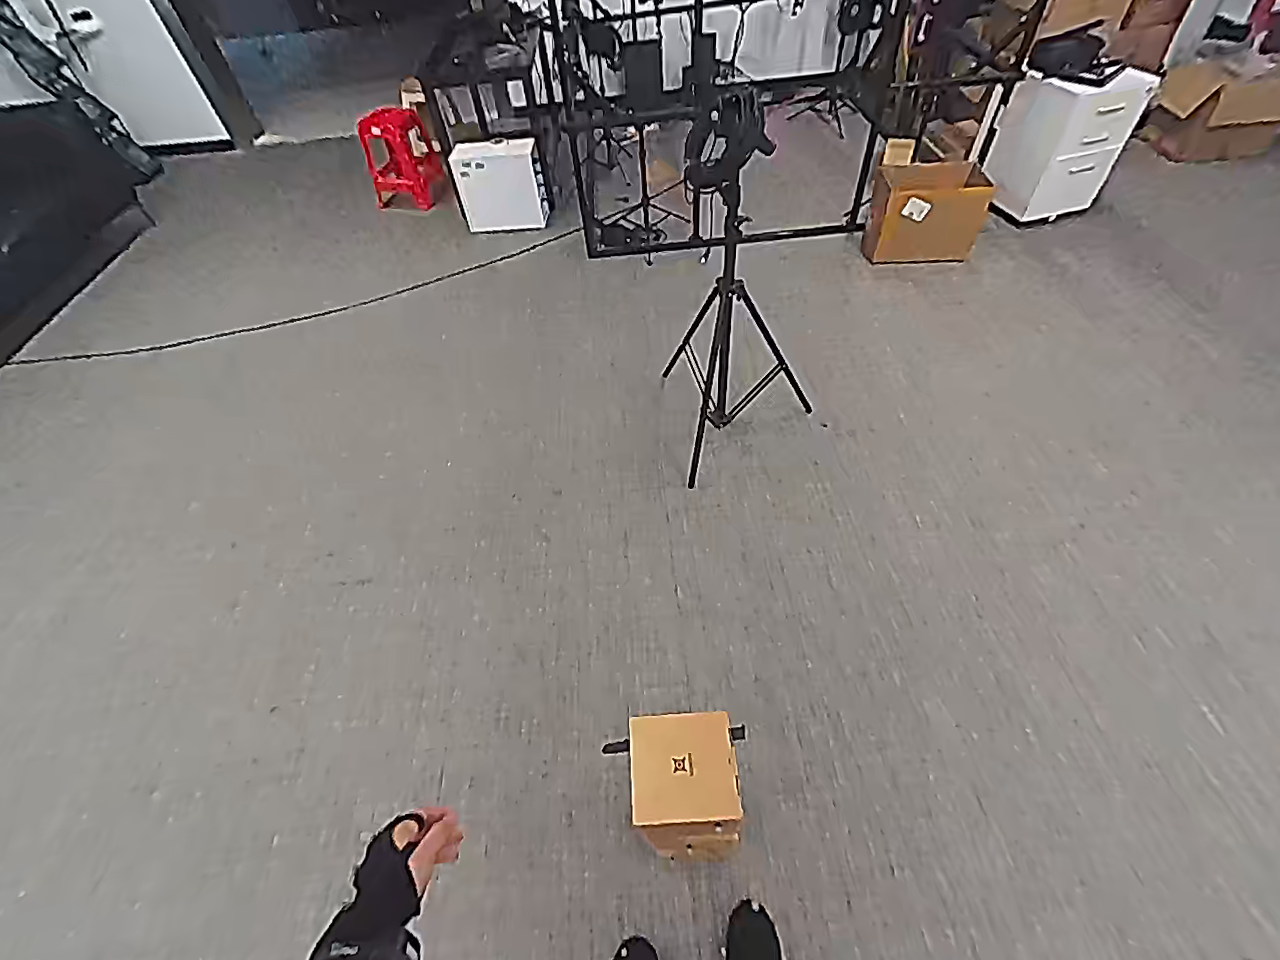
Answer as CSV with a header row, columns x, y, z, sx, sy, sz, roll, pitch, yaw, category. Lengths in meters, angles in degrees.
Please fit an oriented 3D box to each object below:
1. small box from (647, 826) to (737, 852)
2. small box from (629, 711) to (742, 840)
x,y,z,sx,sy,sz,roll,pitch,yaw,category
0.101,0.630,1.078,0.168,0.176,0.179,-2,50,4,small box
0.078,0.525,0.955,0.179,0.176,0.168,-6,50,1,small box
